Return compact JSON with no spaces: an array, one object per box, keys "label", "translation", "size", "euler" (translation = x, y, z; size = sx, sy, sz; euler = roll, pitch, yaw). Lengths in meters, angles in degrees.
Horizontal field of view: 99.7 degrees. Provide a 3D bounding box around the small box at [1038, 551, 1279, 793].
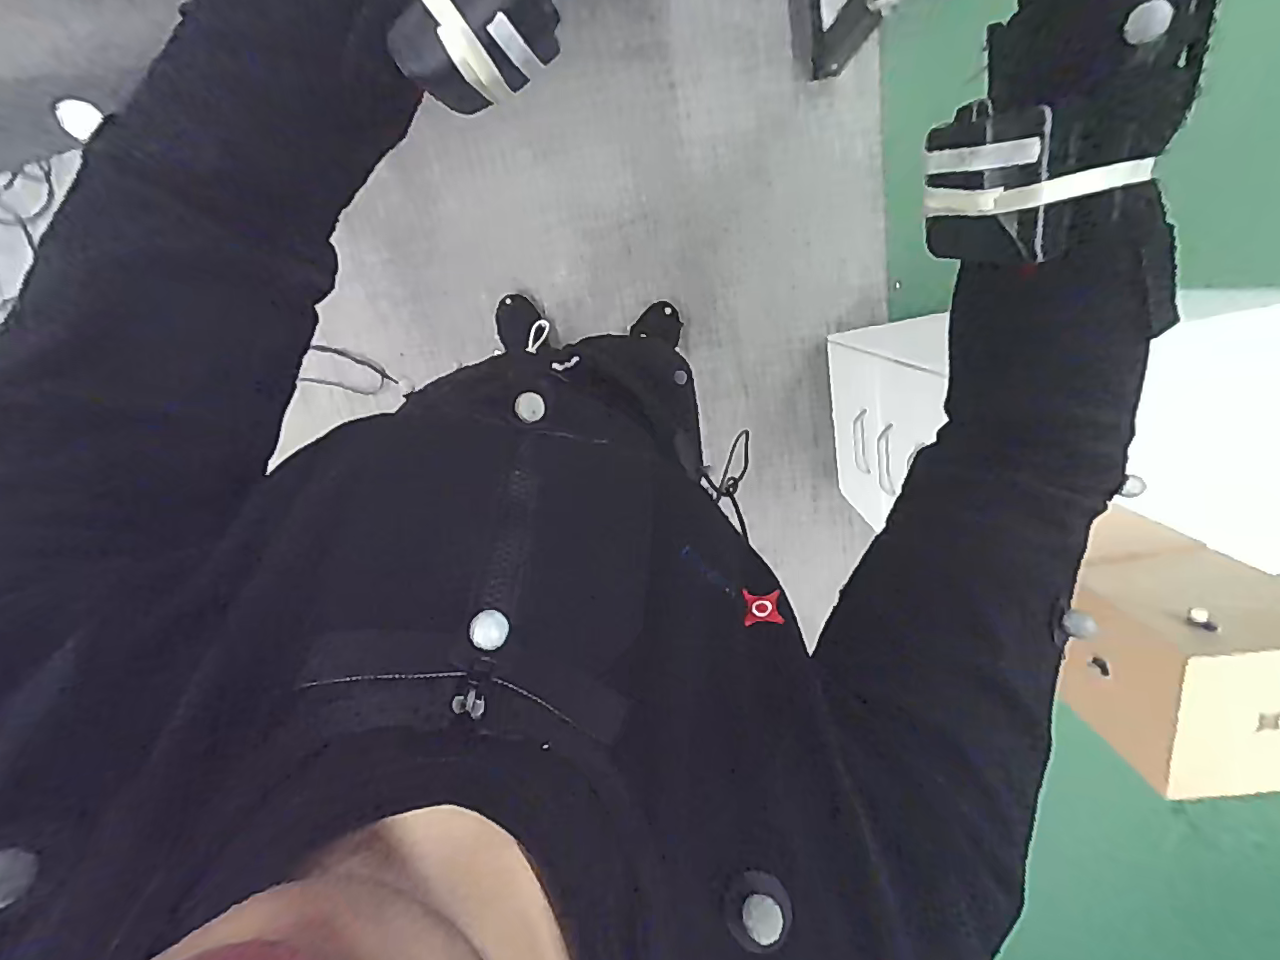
[{"label":"small box","translation":[0.567,0.192,0.574],"size":[0.179,0.176,0.168],"euler":[-9,109,3]}]
